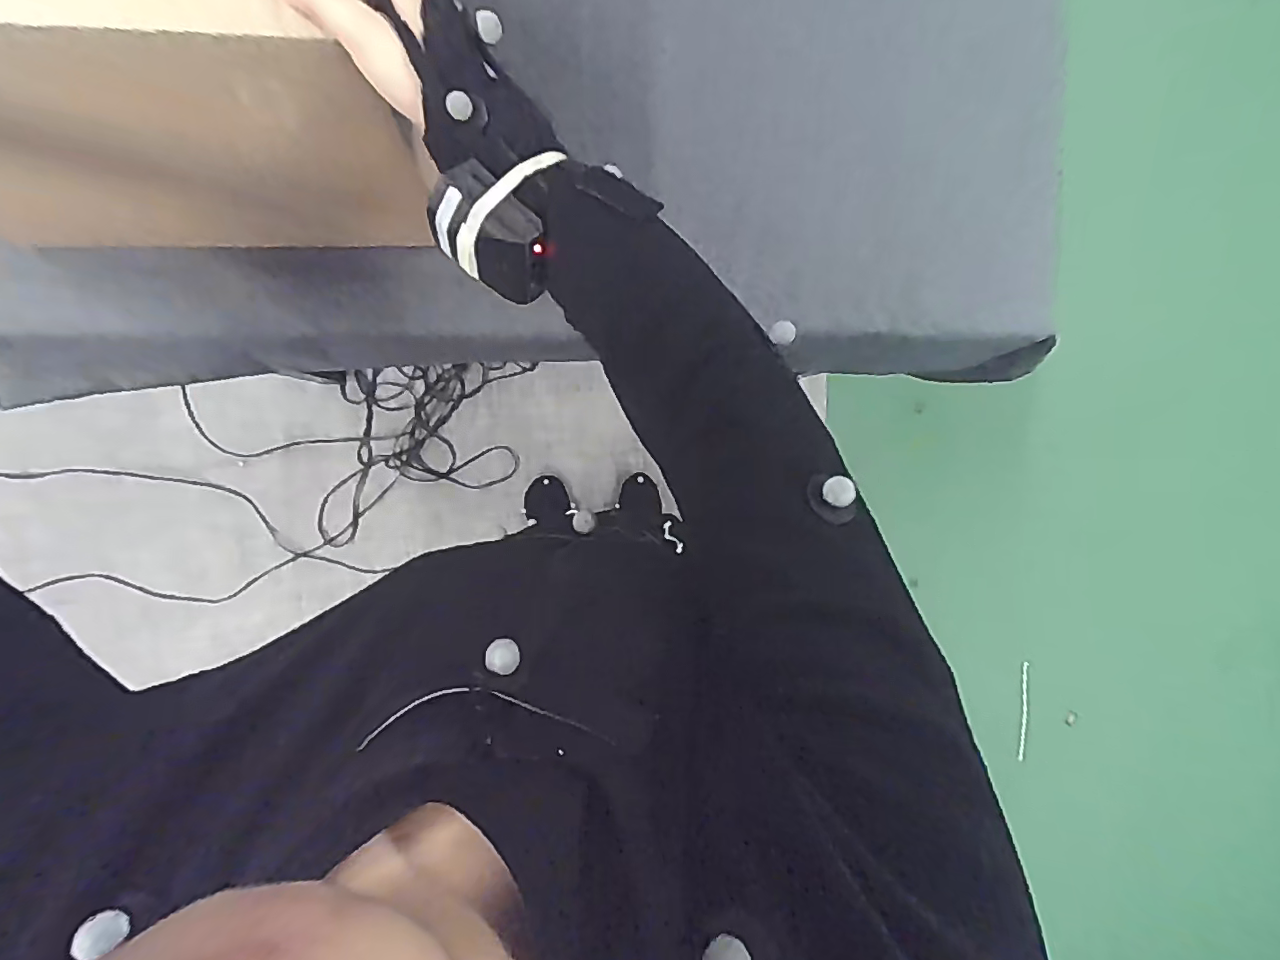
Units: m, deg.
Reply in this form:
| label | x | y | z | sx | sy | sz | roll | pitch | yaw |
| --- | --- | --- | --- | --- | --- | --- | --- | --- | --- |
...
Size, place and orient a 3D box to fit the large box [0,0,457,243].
| label | x | y | z | sx | sy | sz | roll | pitch | yaw |
| --- | --- | --- | --- | --- | --- | --- | --- | --- | --- |
| large box | -0.374 | -0.385 | 0.390 | 0.408 | 0.320 | 0.320 | -6 | 96 | -11 |
